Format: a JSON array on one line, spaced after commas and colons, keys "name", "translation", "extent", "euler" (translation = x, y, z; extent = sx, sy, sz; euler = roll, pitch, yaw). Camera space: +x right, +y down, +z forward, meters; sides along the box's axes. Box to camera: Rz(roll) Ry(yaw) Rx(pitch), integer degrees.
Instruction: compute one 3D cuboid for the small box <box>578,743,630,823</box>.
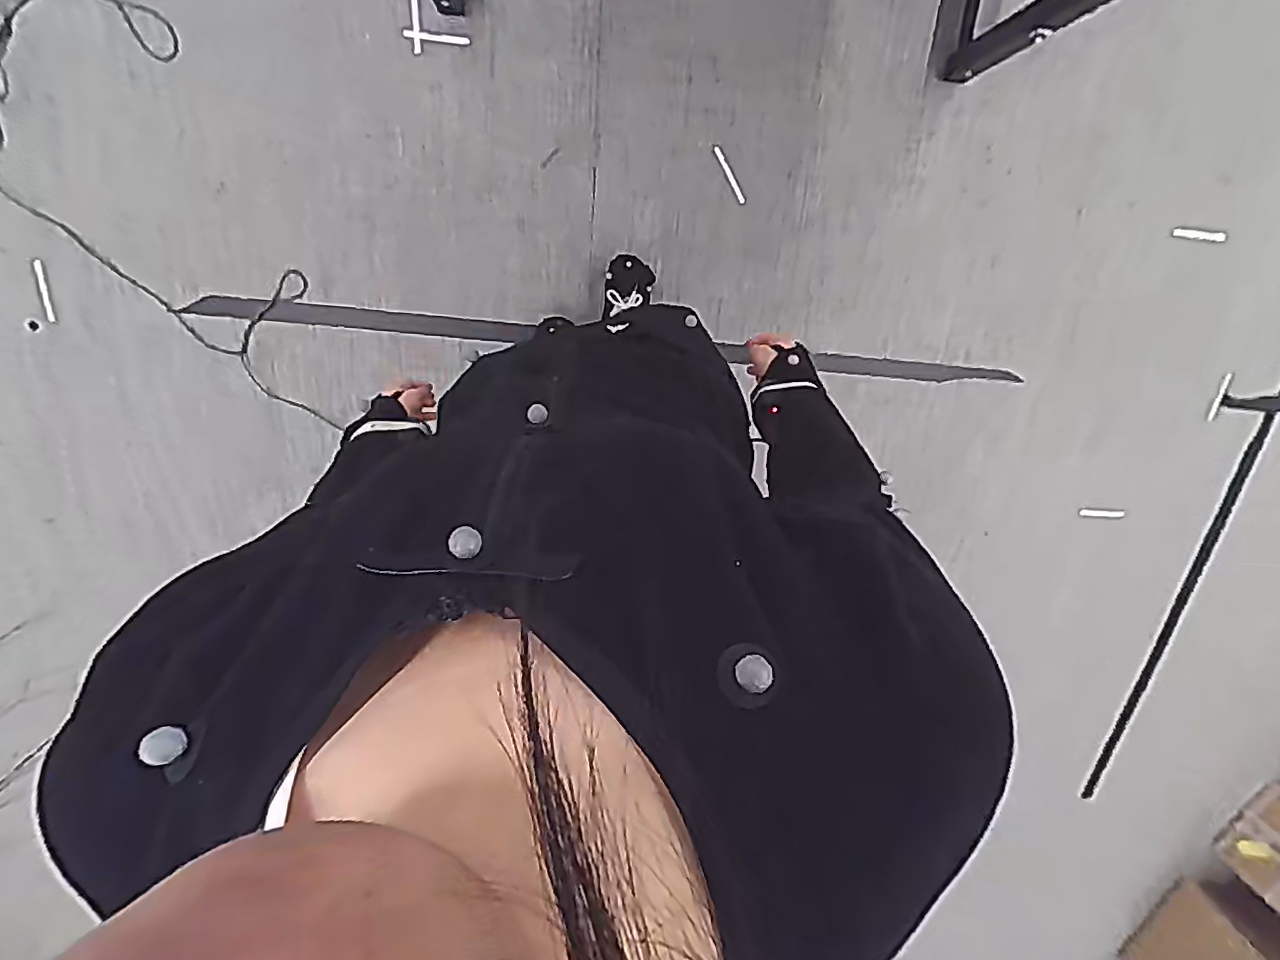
[{"name": "small box", "translation": [-0.123, 1.004, 1.804], "extent": [0.168, 0.176, 0.179], "euler": [0, 110, -4]}]
